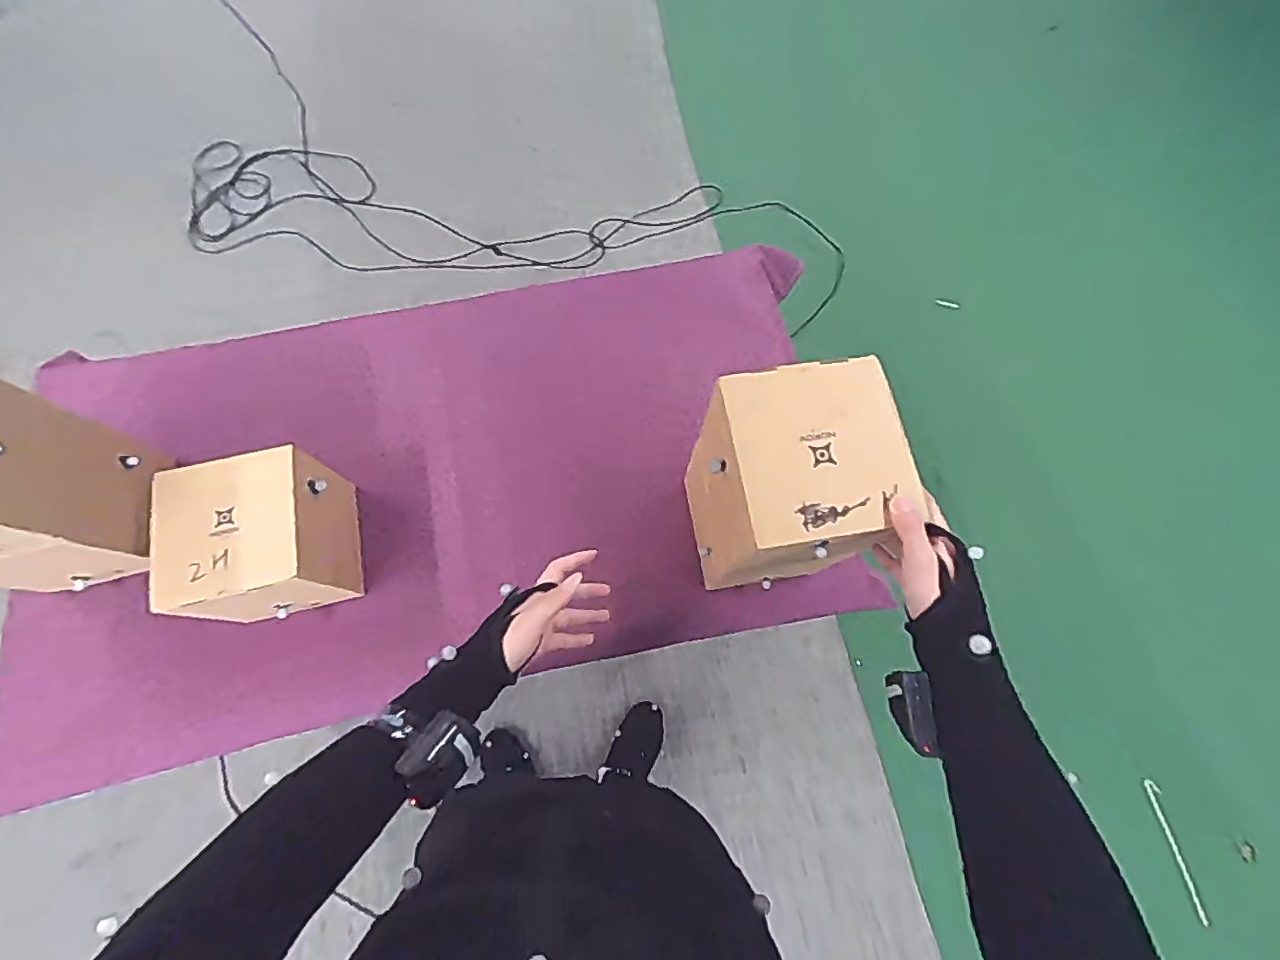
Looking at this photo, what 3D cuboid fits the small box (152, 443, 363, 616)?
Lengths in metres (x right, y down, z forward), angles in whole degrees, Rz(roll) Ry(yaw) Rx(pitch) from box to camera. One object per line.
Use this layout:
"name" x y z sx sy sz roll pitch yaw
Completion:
"small box" -0.494 0.074 0.722 0.168 0.176 0.179 -13 73 -5

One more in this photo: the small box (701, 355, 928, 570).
"small box" 0.168 -0.010 0.586 0.168 0.176 0.179 -8 74 -3

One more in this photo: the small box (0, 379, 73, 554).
"small box" -0.767 -0.018 0.575 0.168 0.176 0.179 -14 74 -5

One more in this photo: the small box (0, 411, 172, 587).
"small box" -0.771 0.034 0.730 0.168 0.176 0.179 -14 74 -5
